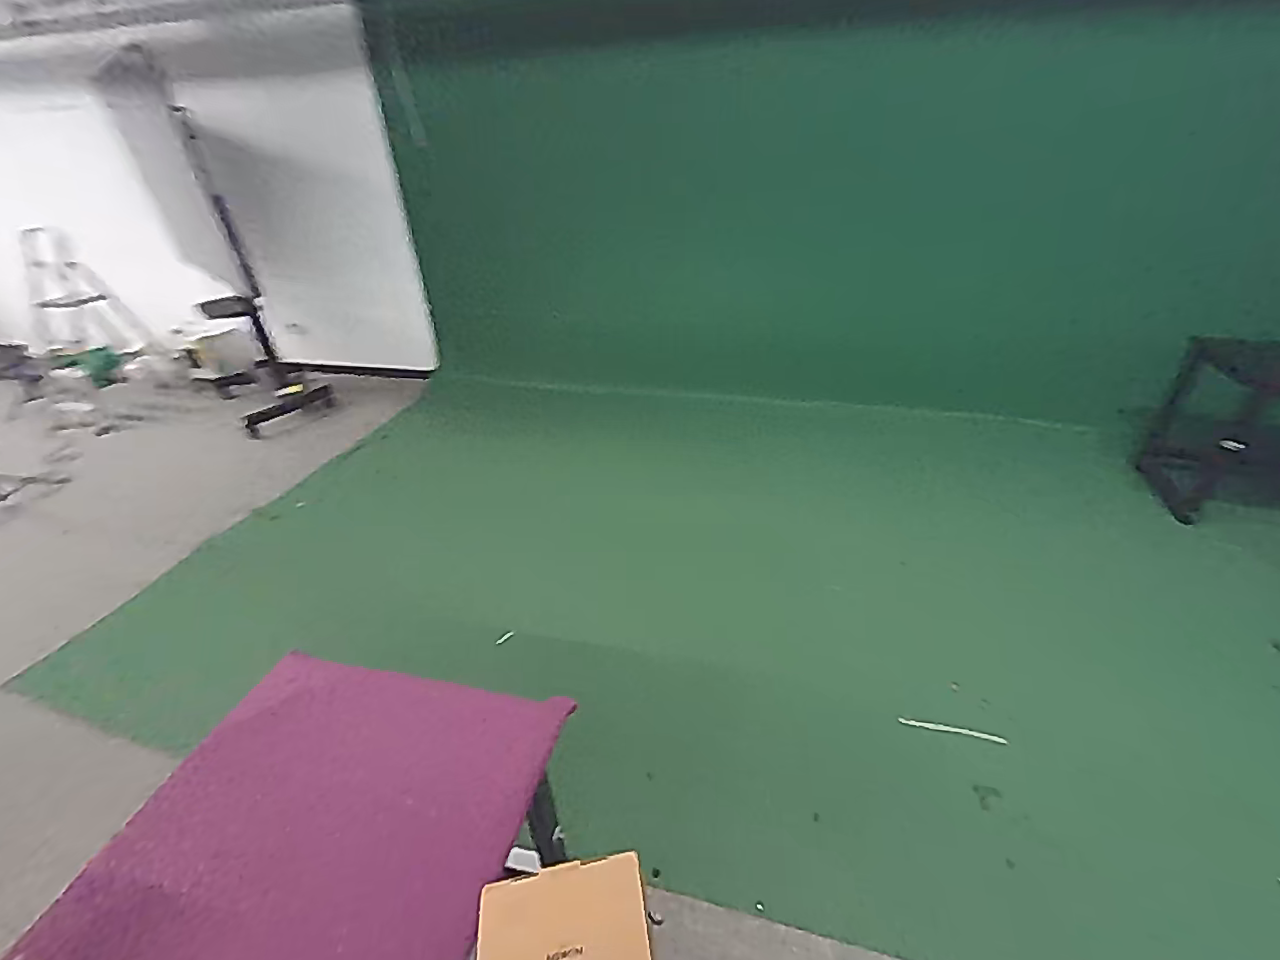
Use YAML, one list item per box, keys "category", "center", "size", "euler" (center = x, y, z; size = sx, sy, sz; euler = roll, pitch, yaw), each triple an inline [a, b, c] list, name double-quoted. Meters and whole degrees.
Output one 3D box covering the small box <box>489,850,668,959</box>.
- category: "small box"
  center: [-0.055, 0.525, 0.558]
  size: [0.168, 0.176, 0.179]
  euler: [-10, 38, -2]
